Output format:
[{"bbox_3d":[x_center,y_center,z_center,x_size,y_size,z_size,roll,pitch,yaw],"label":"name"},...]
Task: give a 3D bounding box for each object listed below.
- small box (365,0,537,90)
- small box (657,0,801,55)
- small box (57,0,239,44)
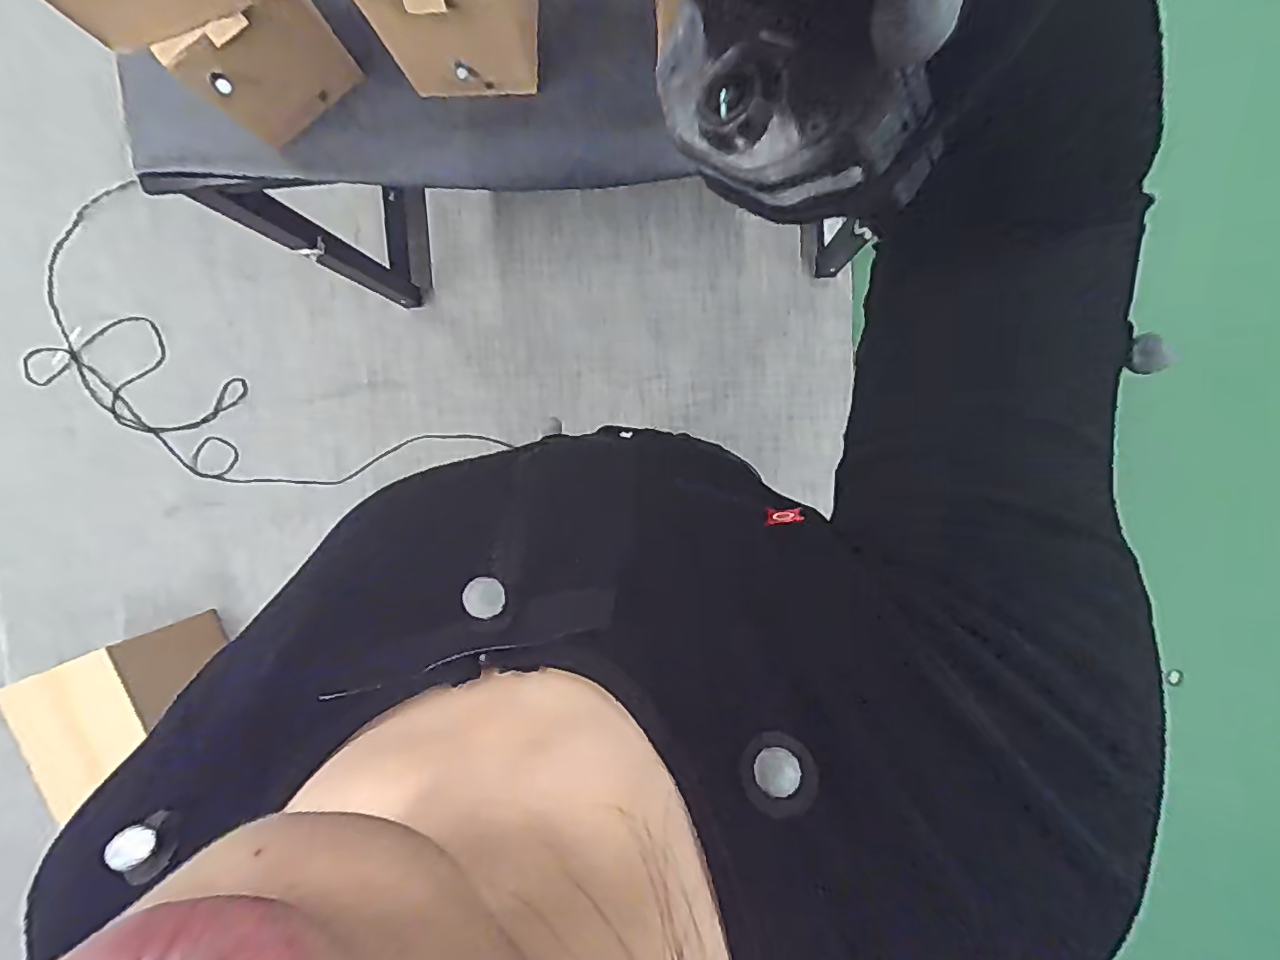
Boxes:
[{"bbox_3d":[-0.225,-0.611,0.646,0.168,0.176,0.179,1,93,4],"label":"small box"},{"bbox_3d":[0.105,-0.640,0.626,0.179,0.176,0.168,-3,93,5],"label":"small box"},{"bbox_3d":[-0.516,-0.563,0.502,0.179,0.176,0.168,-17,92,5],"label":"small box"}]
